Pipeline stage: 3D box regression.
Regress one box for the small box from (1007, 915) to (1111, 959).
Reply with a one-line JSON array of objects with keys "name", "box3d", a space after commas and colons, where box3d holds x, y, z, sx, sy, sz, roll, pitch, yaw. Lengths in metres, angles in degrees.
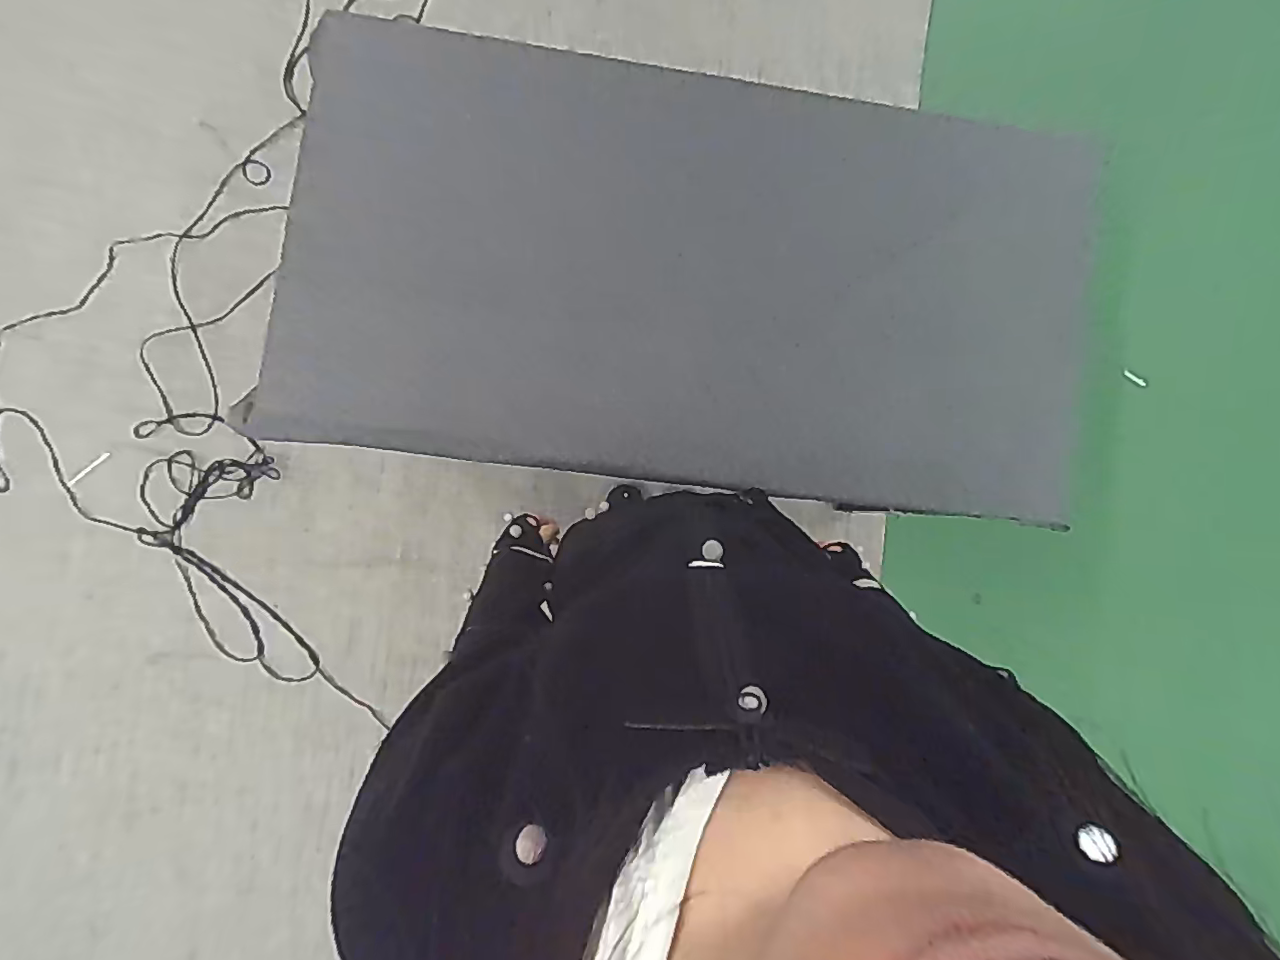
[{"name": "small box", "box3d": [1.104, 1.282, 1.408, 0.179, 0.176, 0.168, 7, 86, -3]}]
